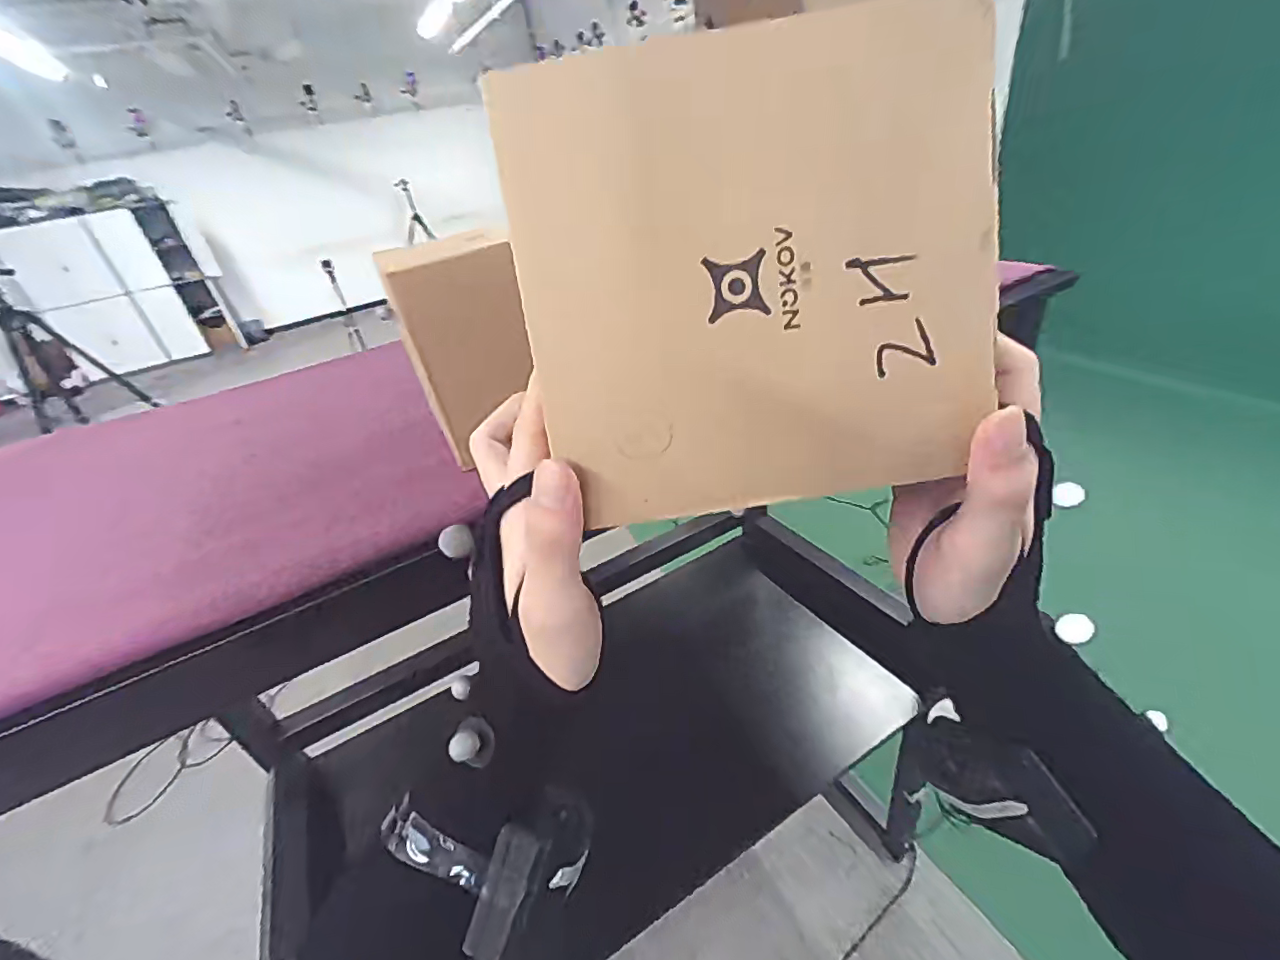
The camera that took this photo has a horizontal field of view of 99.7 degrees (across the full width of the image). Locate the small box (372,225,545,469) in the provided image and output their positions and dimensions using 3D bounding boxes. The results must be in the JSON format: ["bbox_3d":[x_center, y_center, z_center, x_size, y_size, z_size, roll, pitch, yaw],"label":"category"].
[{"bbox_3d":[-0.128,-0.134,0.502,0.168,0.176,0.179,-24,34,-17],"label":"small box"}]

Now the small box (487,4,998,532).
[{"bbox_3d":[0.044,-0.084,0.277,0.179,0.168,0.176,-8,12,2],"label":"small box"}]
